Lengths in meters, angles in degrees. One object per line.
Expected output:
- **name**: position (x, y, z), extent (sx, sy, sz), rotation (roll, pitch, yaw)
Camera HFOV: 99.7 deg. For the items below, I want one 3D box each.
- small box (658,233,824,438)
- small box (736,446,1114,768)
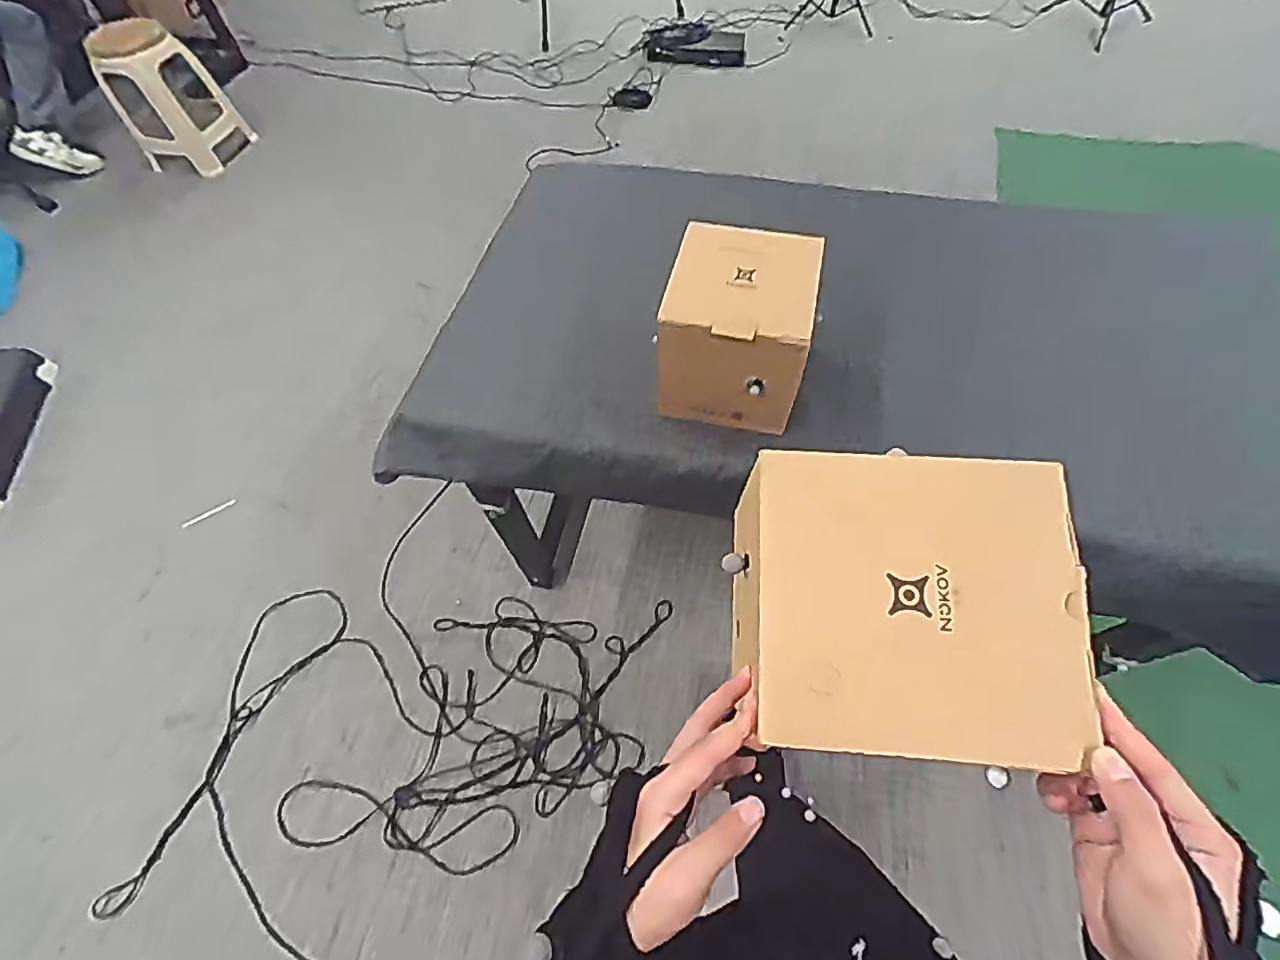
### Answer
- **small box**: position (0.122, -0.176, 0.679), extent (0.168, 0.176, 0.179), rotation (11, 59, 8)
- **small box**: position (0.162, 0.085, 0.375), extent (0.179, 0.176, 0.168), rotation (3, 73, 5)
